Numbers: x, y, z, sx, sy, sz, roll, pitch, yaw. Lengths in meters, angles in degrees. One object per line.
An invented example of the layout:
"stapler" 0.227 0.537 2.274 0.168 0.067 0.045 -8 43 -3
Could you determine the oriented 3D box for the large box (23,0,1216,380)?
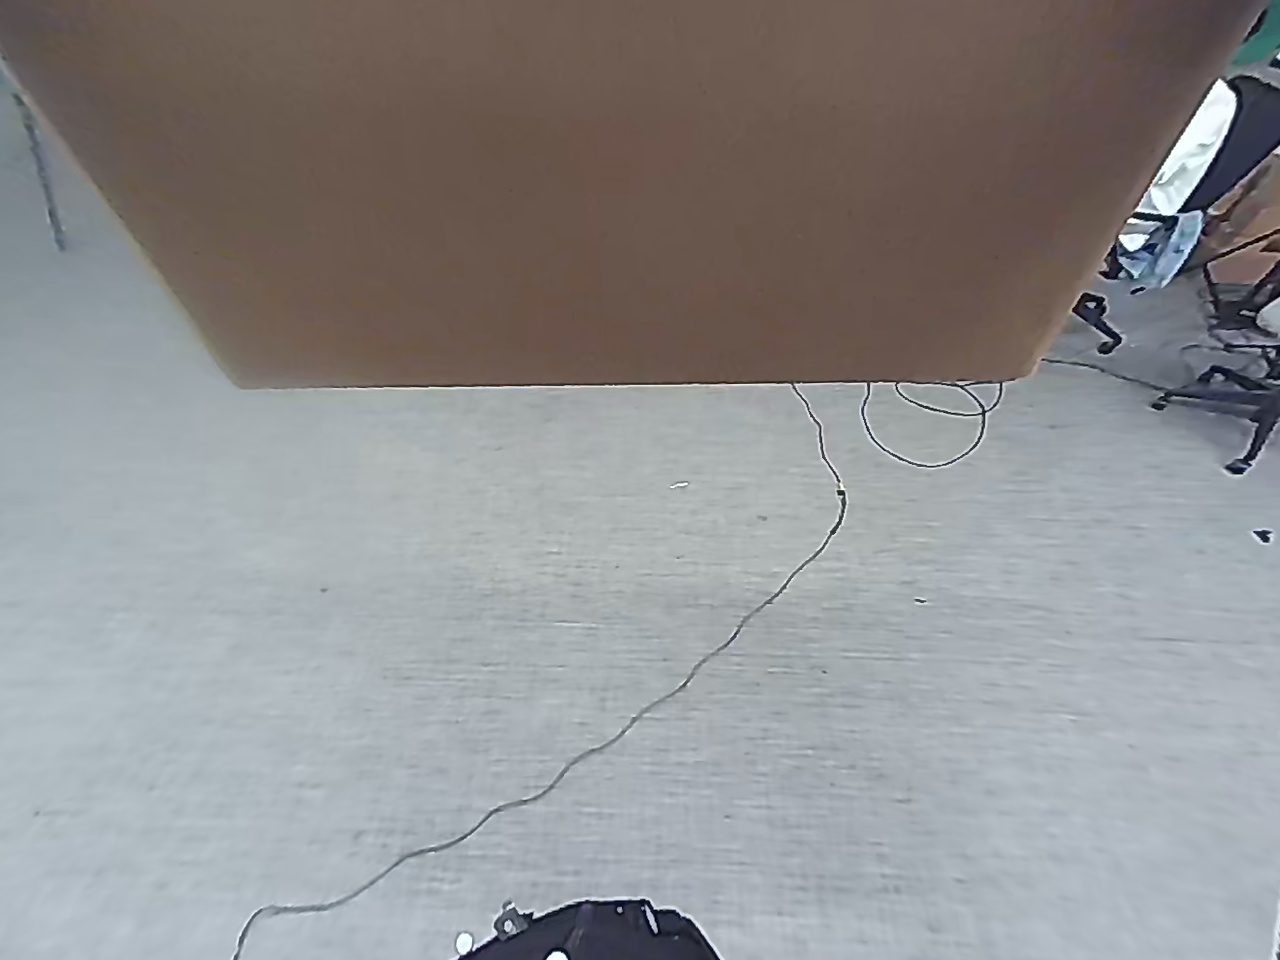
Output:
"large box" -0.007 -0.264 0.278 0.408 0.320 0.320 0 48 0
